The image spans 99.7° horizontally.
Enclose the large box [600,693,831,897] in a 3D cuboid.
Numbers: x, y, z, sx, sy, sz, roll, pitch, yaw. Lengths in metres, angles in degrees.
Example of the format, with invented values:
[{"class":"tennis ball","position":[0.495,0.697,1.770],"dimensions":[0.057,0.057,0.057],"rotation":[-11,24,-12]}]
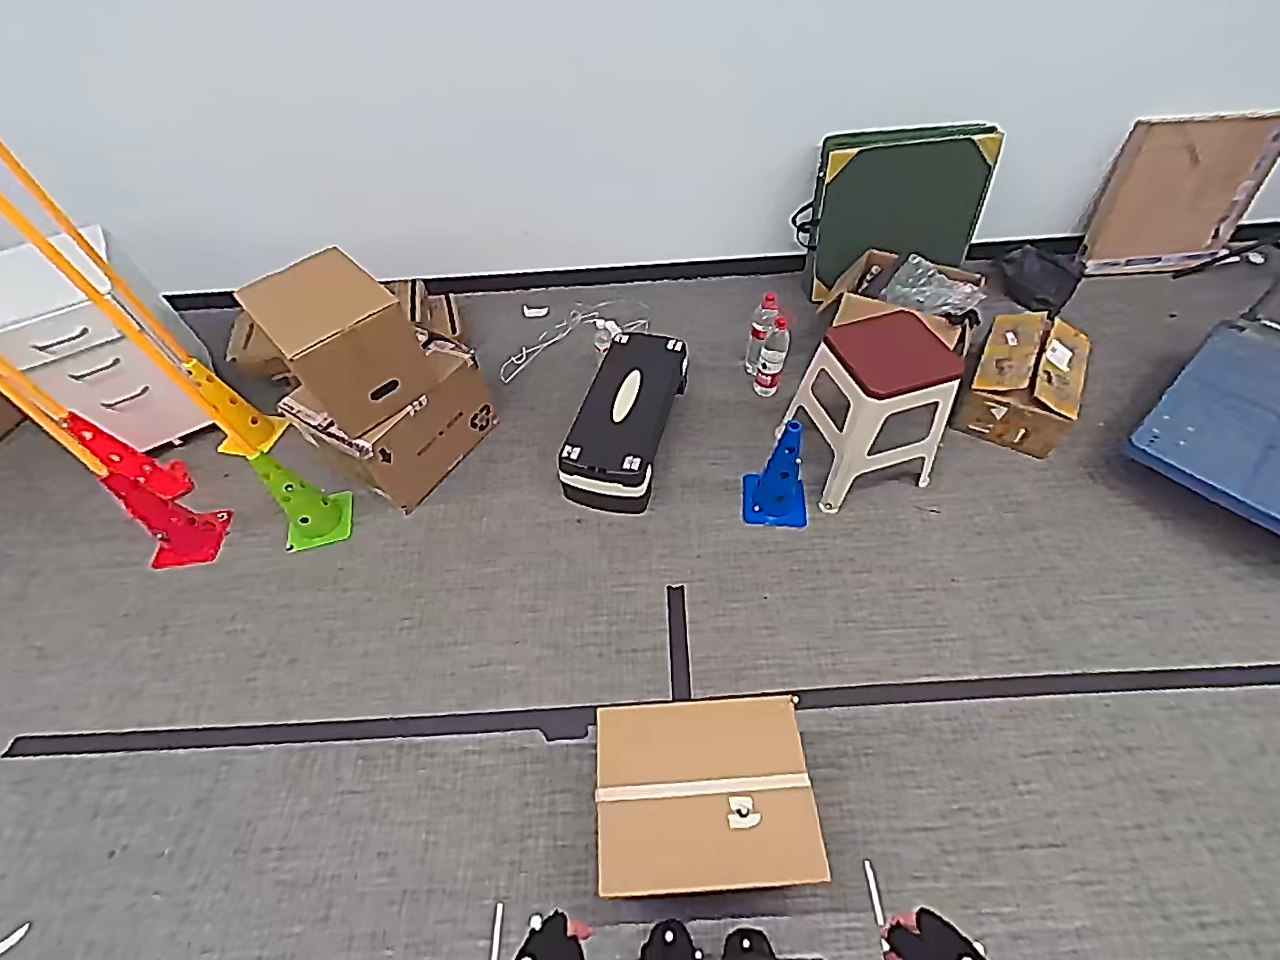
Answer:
[{"class":"large box","position":[0.129,0.669,1.143],"dimensions":[0.408,0.320,0.320],"rotation":[-4,53,-1]}]
